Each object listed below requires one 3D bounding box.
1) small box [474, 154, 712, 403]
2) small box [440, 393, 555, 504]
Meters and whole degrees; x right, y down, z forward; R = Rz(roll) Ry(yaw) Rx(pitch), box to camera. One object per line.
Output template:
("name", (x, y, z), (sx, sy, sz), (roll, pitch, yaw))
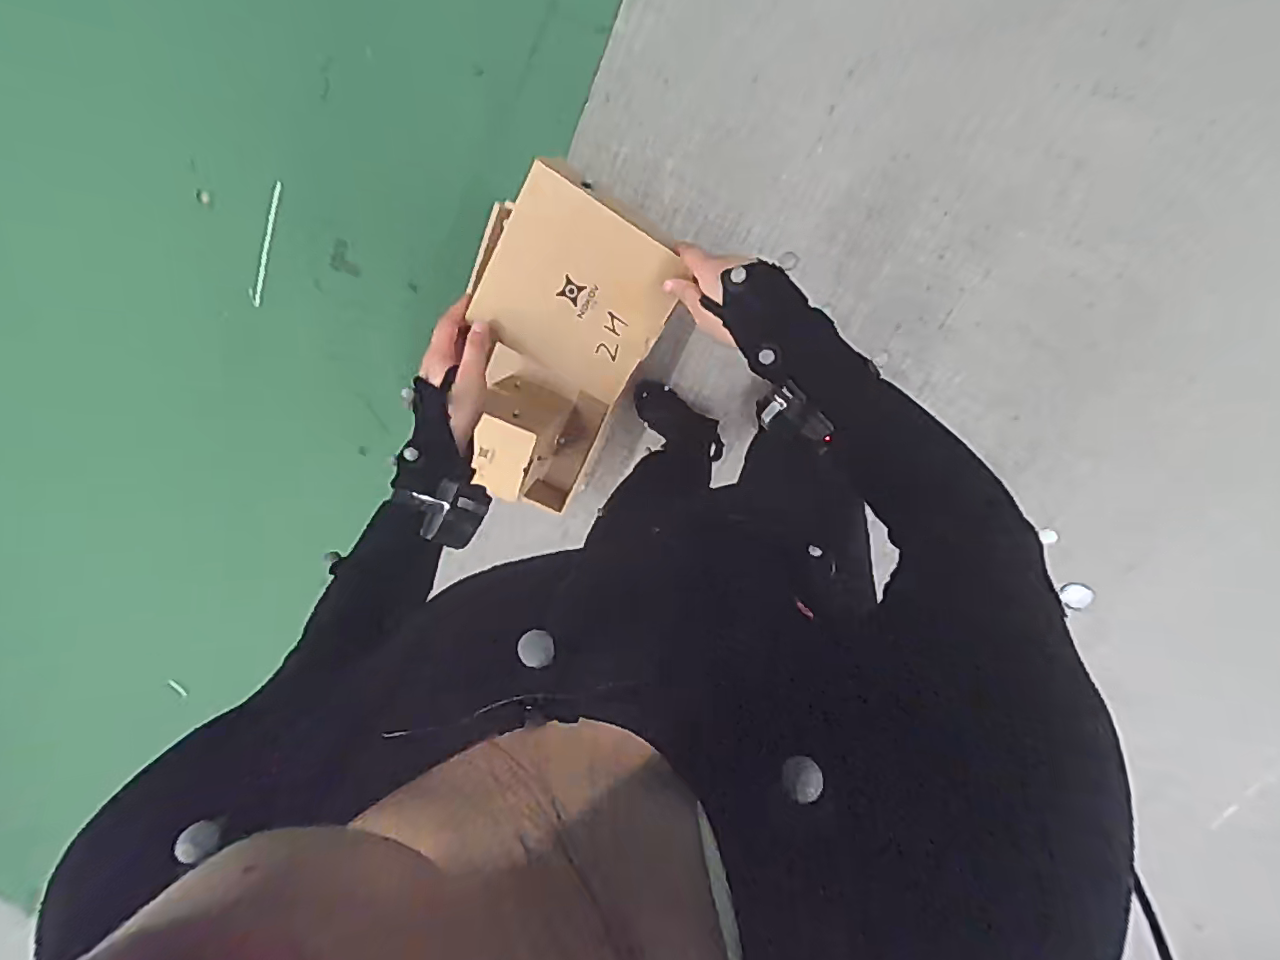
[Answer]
("small box", (-0.047, -0.217, 0.583), (0.179, 0.176, 0.168), (29, 118, -15))
("small box", (-0.301, -0.076, 1.175), (0.179, 0.176, 0.168), (22, 110, -4))
